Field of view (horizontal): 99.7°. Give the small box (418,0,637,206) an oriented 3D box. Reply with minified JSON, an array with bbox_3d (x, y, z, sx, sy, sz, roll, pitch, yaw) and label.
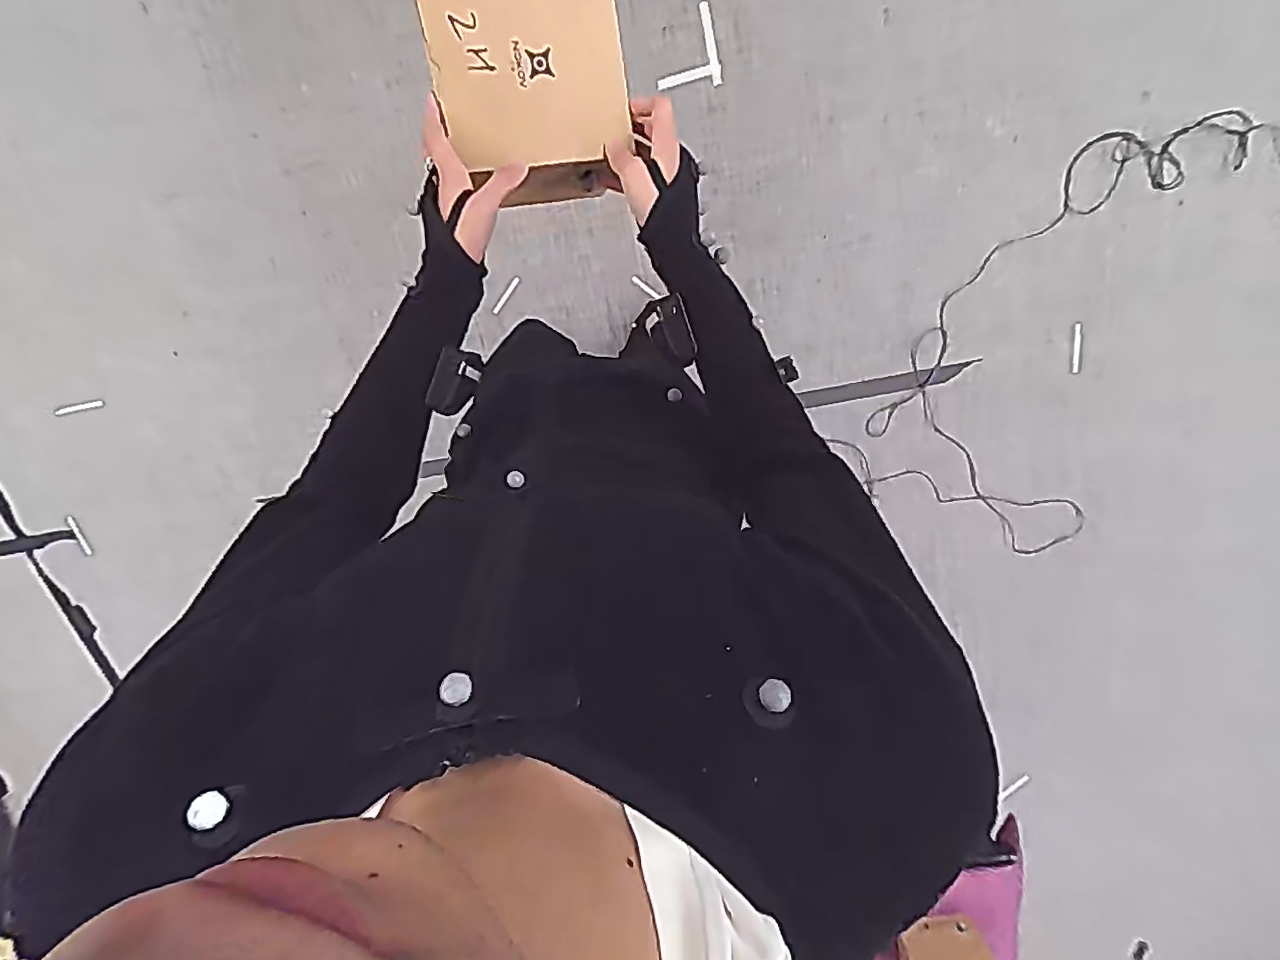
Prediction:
[{"bbox_3d":[-0.117,-0.394,0.556,0.179,0.176,0.168,-13,108,-12],"label":"small box"}]

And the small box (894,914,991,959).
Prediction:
[{"bbox_3d":[0.663,1.072,1.160,0.168,0.176,0.179,-12,110,6],"label":"small box"}]
